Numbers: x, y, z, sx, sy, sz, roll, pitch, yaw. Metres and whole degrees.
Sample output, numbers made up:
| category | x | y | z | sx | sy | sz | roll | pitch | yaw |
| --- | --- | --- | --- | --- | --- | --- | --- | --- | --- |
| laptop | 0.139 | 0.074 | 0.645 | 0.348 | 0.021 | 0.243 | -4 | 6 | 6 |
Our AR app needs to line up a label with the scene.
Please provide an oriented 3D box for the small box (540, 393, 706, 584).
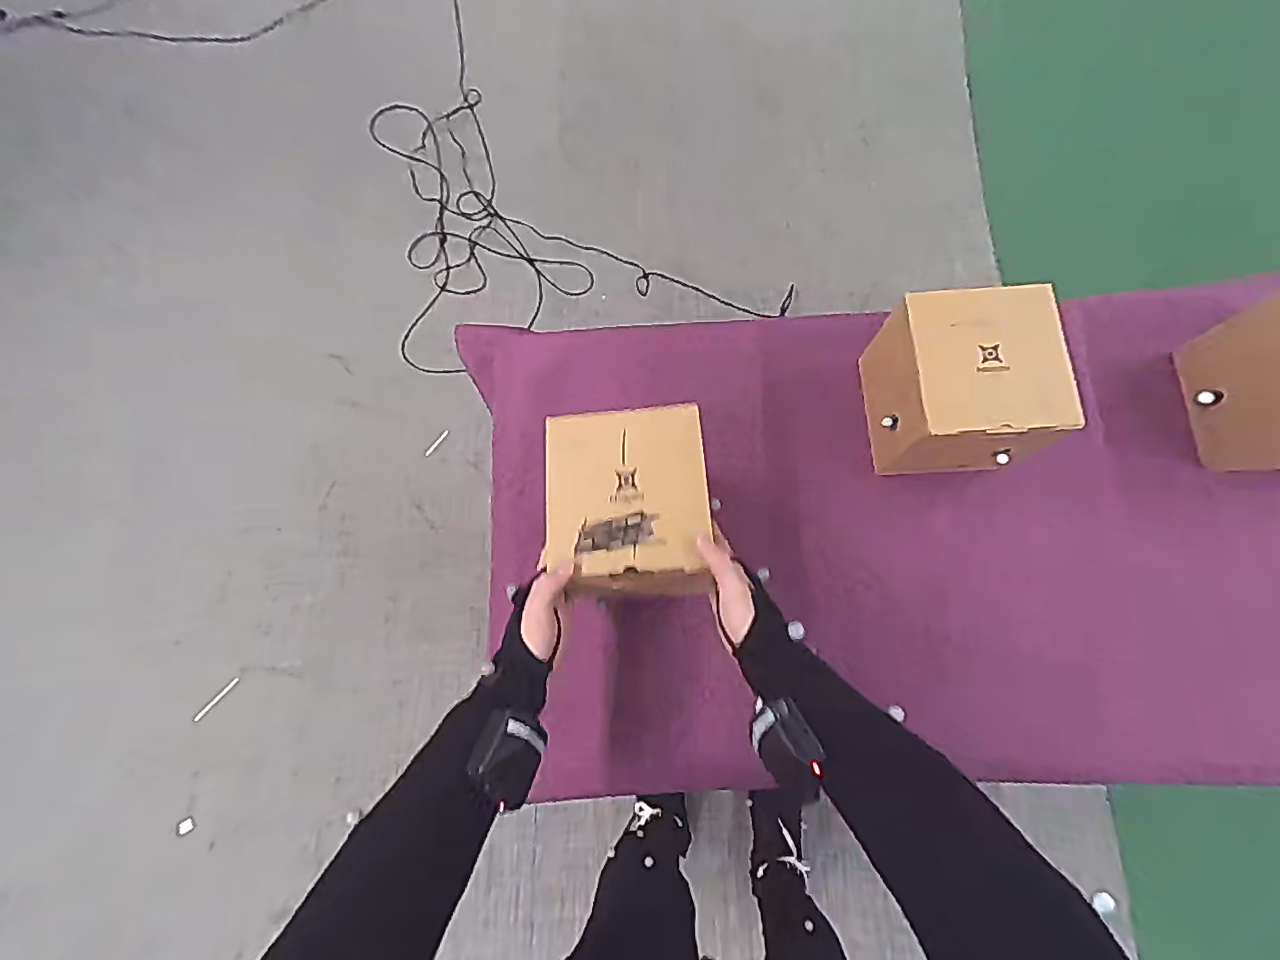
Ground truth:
| category | x | y | z | sx | sy | sz | roll | pitch | yaw |
| --- | --- | --- | --- | --- | --- | --- | --- | --- | --- |
| small box | -0.013 | 0.022 | 0.623 | 0.168 | 0.176 | 0.179 | -6 | 70 | 4 |

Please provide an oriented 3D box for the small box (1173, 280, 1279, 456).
| category | x | y | z | sx | sy | sz | roll | pitch | yaw |
| --- | --- | --- | --- | --- | --- | --- | --- | --- | --- |
| small box | 0.801 | -0.129 | 0.638 | 0.168 | 0.176 | 0.179 | -2 | 76 | 4 |

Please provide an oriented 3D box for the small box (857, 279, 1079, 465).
| category | x | y | z | sx | sy | sz | roll | pitch | yaw |
| --- | --- | --- | --- | --- | --- | --- | --- | --- | --- |
| small box | 0.386 | -0.121 | 0.672 | 0.168 | 0.176 | 0.179 | -3 | 75 | 3 |
